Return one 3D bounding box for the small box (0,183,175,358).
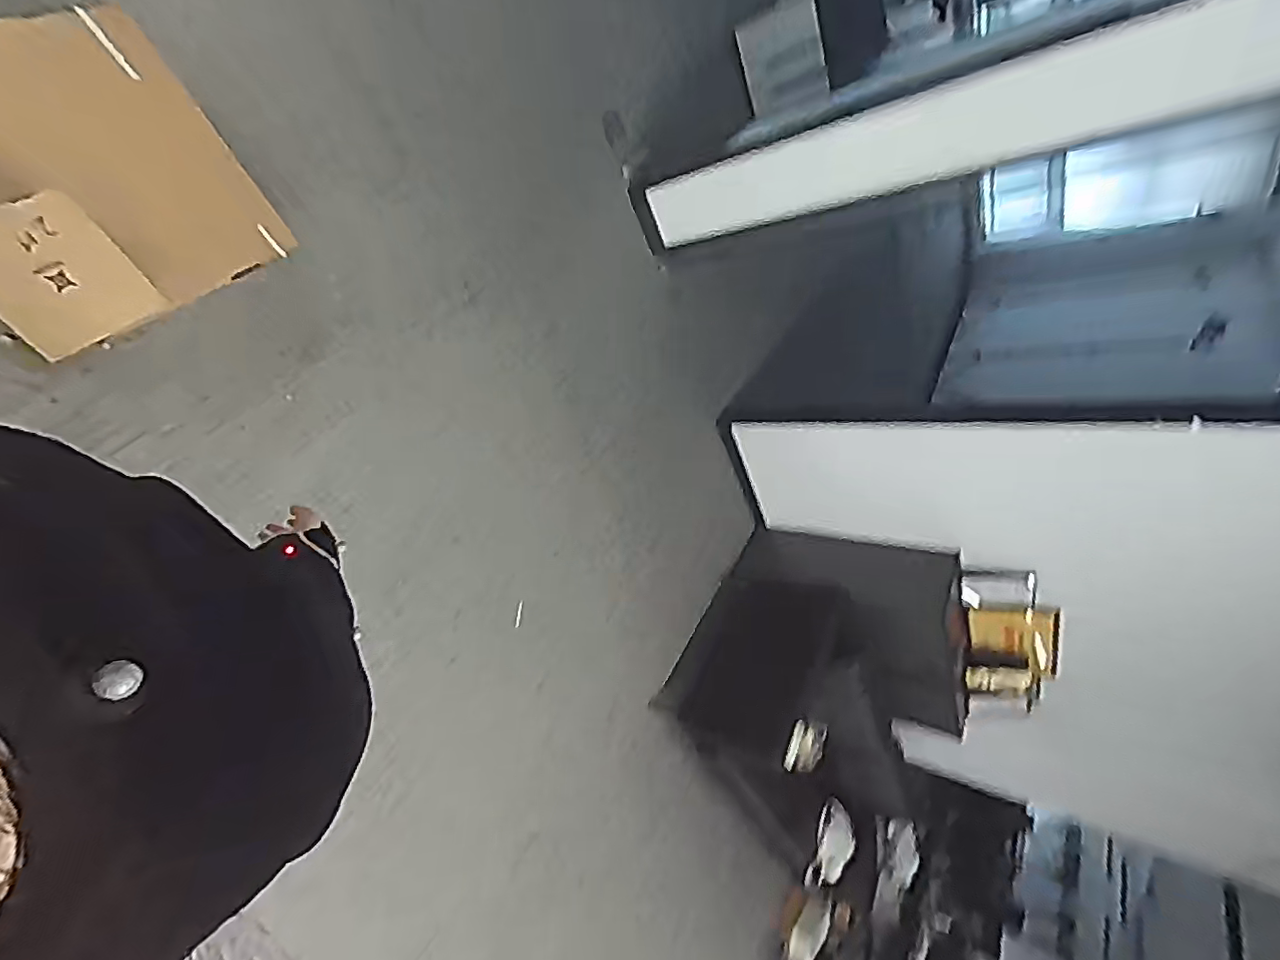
[{"bbox_3d":[-0.833,-0.290,0.774,0.168,0.176,0.179,-52,131,-34],"label":"small box"}]
